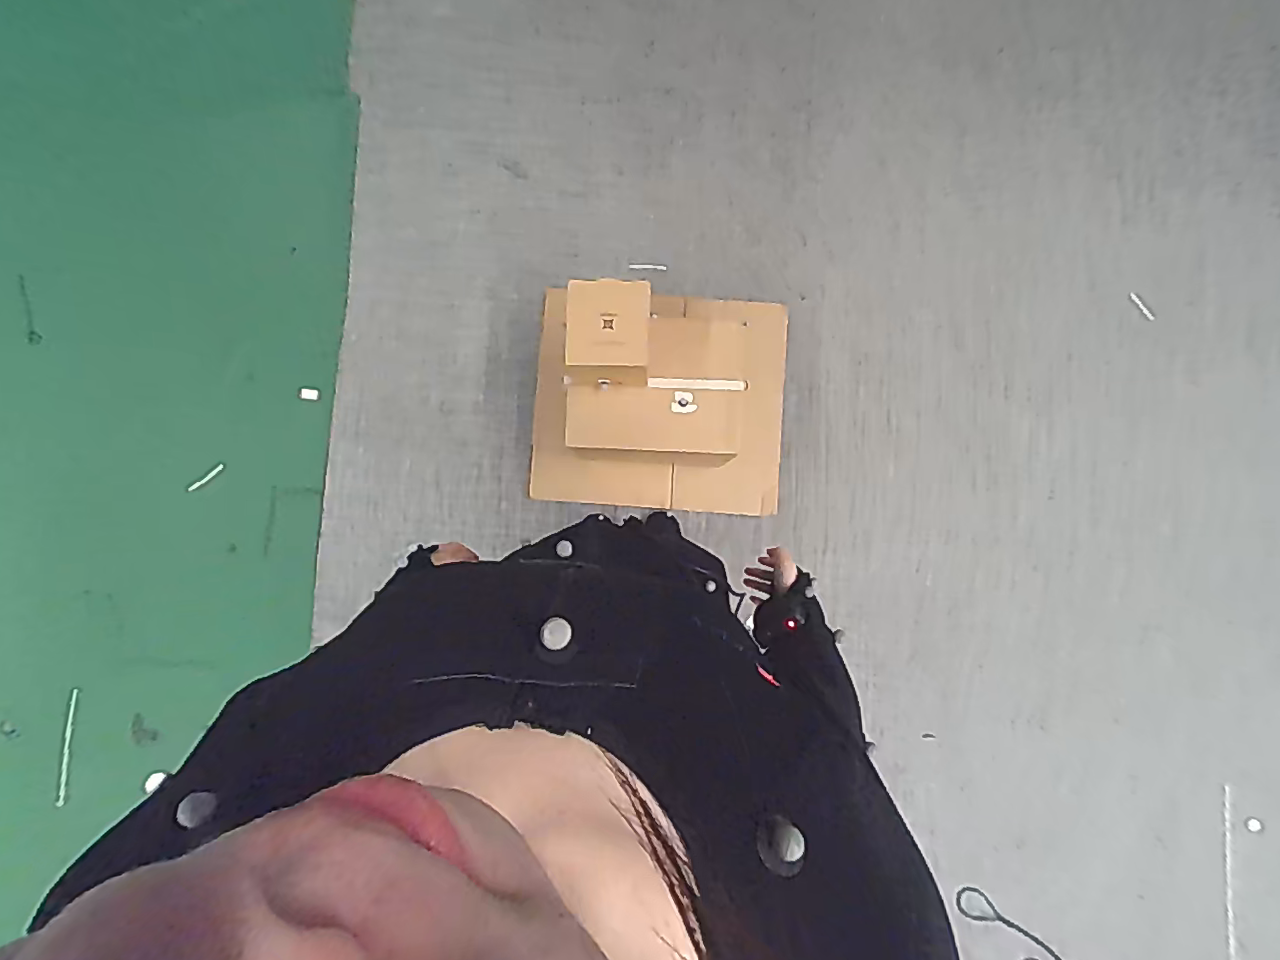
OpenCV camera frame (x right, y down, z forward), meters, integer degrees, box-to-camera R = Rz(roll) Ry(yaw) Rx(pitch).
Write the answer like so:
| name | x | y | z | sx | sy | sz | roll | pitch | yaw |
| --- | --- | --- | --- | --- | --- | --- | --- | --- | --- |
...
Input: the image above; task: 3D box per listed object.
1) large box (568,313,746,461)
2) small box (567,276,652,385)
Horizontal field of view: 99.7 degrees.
| name | x | y | z | sx | sy | sz | roll | pitch | yaw |
| --- | --- | --- | --- | --- | --- | --- | --- | --- | --- |
| large box | 0.036 | -0.218 | 1.372 | 0.408 | 0.320 | 0.320 | 2 | 87 | -1 |
| small box | -0.059 | -0.307 | 1.134 | 0.168 | 0.176 | 0.179 | 1 | 86 | 1 |
